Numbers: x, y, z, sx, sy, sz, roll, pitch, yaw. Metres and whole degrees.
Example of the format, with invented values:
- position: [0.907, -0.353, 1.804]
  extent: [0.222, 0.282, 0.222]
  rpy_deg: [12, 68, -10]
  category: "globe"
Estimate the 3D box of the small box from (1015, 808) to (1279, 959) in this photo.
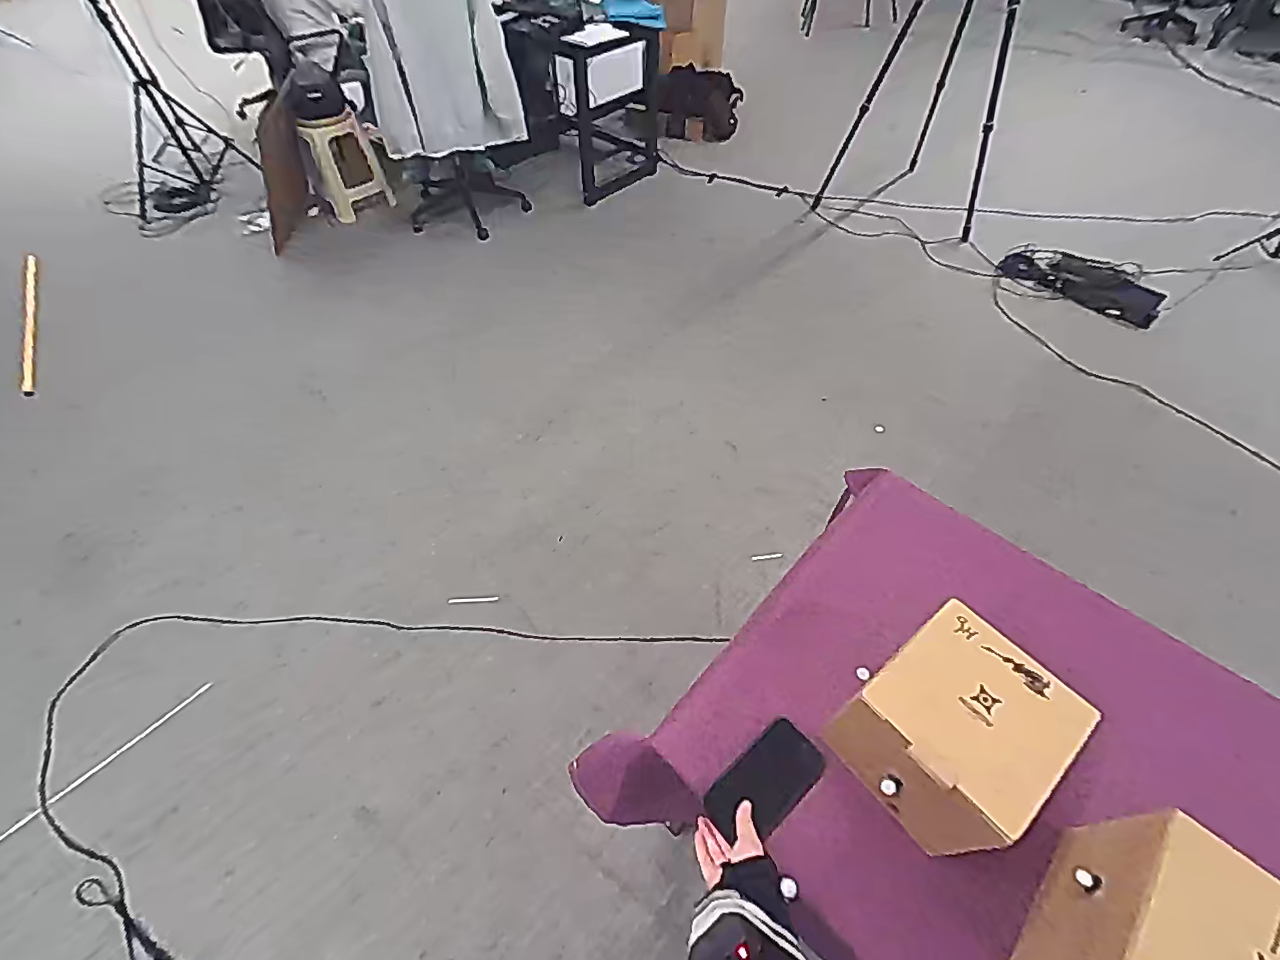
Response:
- position: [0.476, 0.435, 0.475]
  extent: [0.168, 0.176, 0.179]
  rpy_deg: [37, 60, 26]
  category: "small box"

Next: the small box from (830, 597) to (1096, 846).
- position: [0.336, 0.273, 0.604]
  extent: [0.179, 0.176, 0.168]
  rpy_deg: [-33, 59, -22]
  category: "small box"
